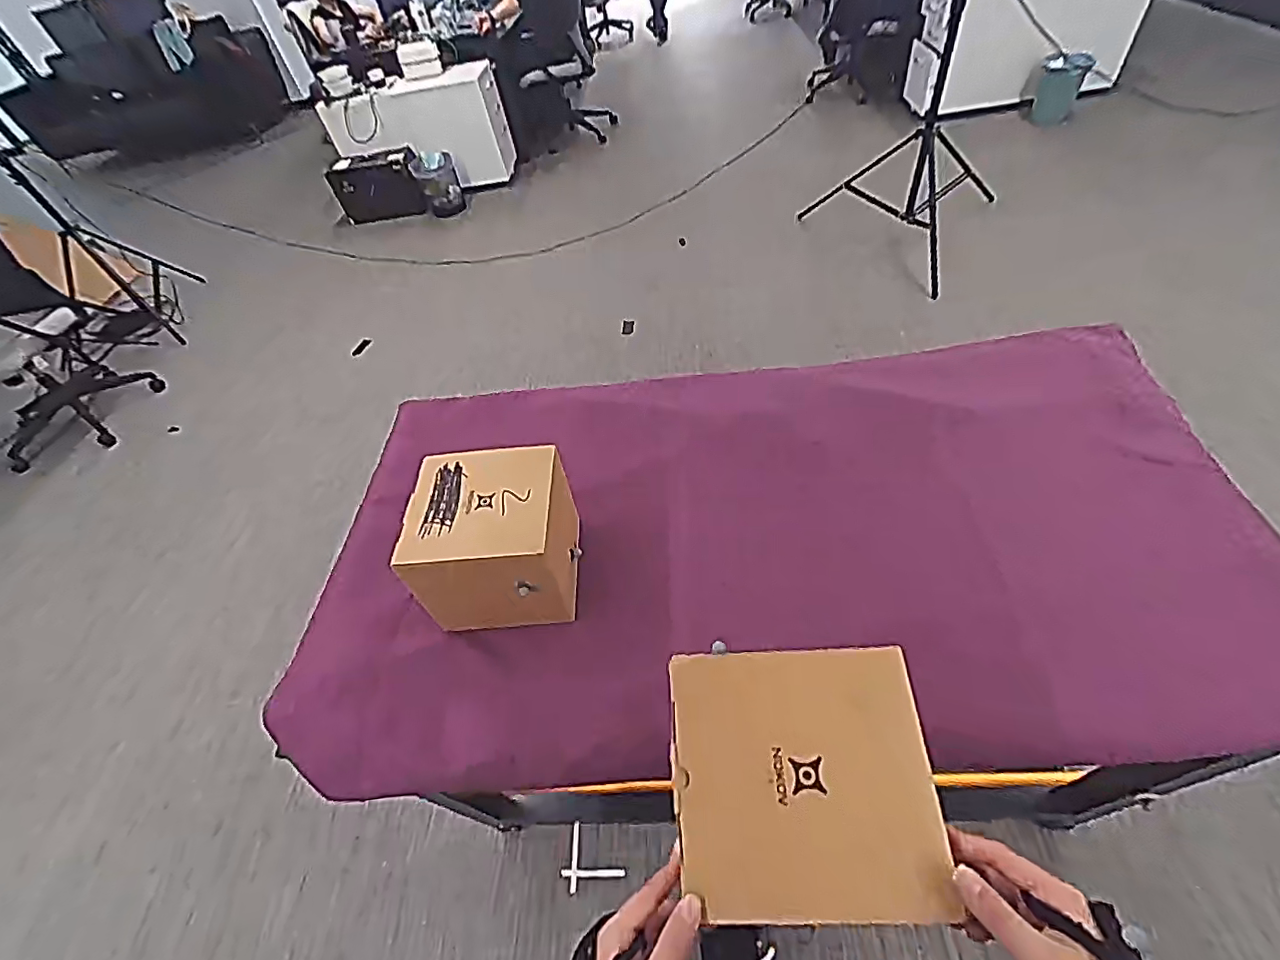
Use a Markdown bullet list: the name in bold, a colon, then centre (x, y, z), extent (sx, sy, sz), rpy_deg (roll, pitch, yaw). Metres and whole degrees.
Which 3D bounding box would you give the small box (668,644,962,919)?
- **small box**: centre (0.120, 0.235, 0.443), extent (0.179, 0.176, 0.168), rpy_deg (-6, 62, 7)
